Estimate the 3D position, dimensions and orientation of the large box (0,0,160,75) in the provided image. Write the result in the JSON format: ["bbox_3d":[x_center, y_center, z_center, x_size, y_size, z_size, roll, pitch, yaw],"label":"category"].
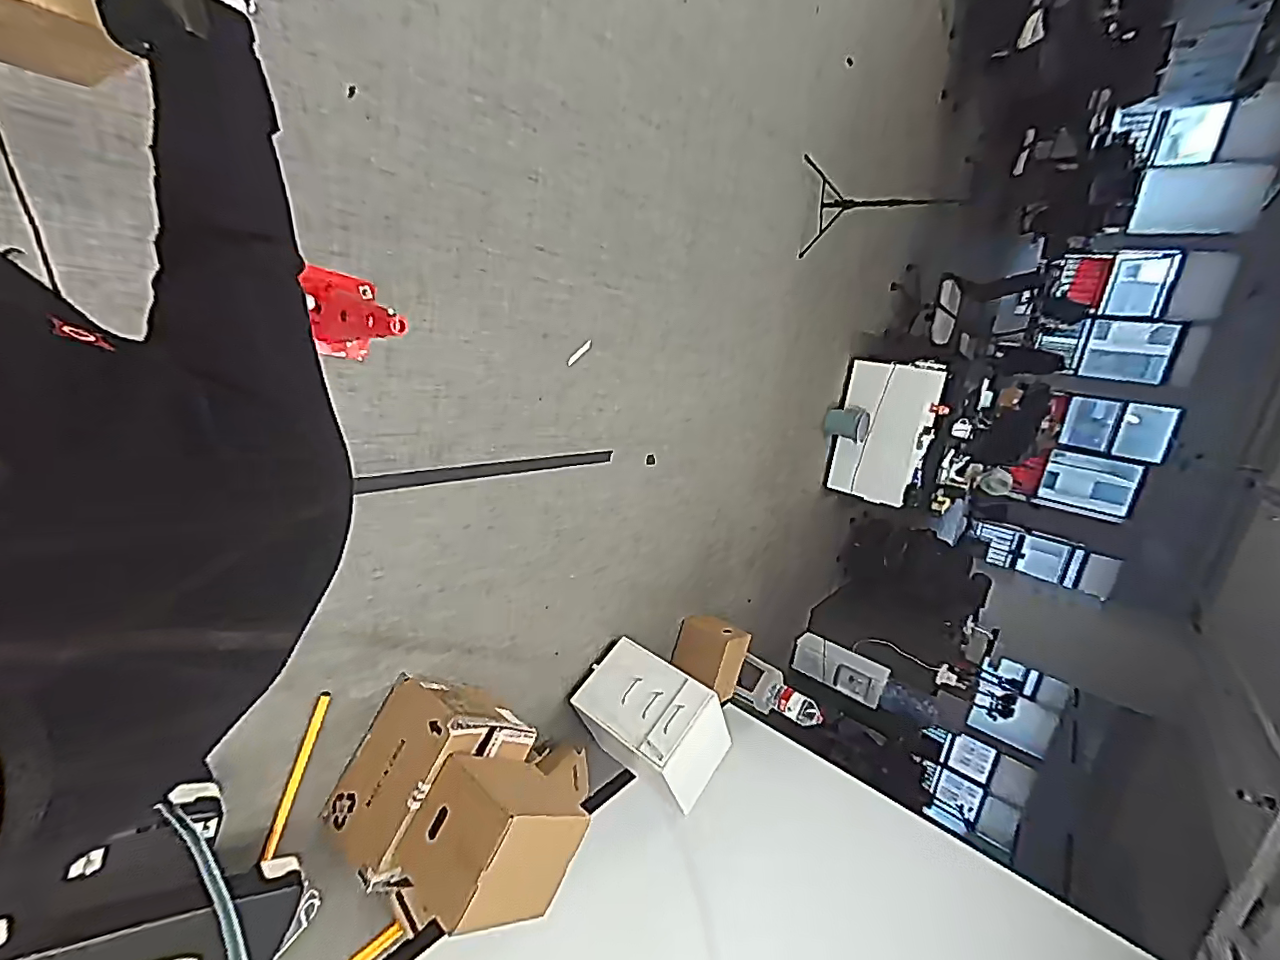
[{"bbox_3d":[-0.554,-0.474,0.269,0.408,0.320,0.320,-12,119,-50],"label":"large box"}]

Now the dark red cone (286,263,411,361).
[{"bbox_3d":[-0.622,-0.357,1.212,0.201,0.394,0.202,0,105,-50],"label":"dark red cone"}]
